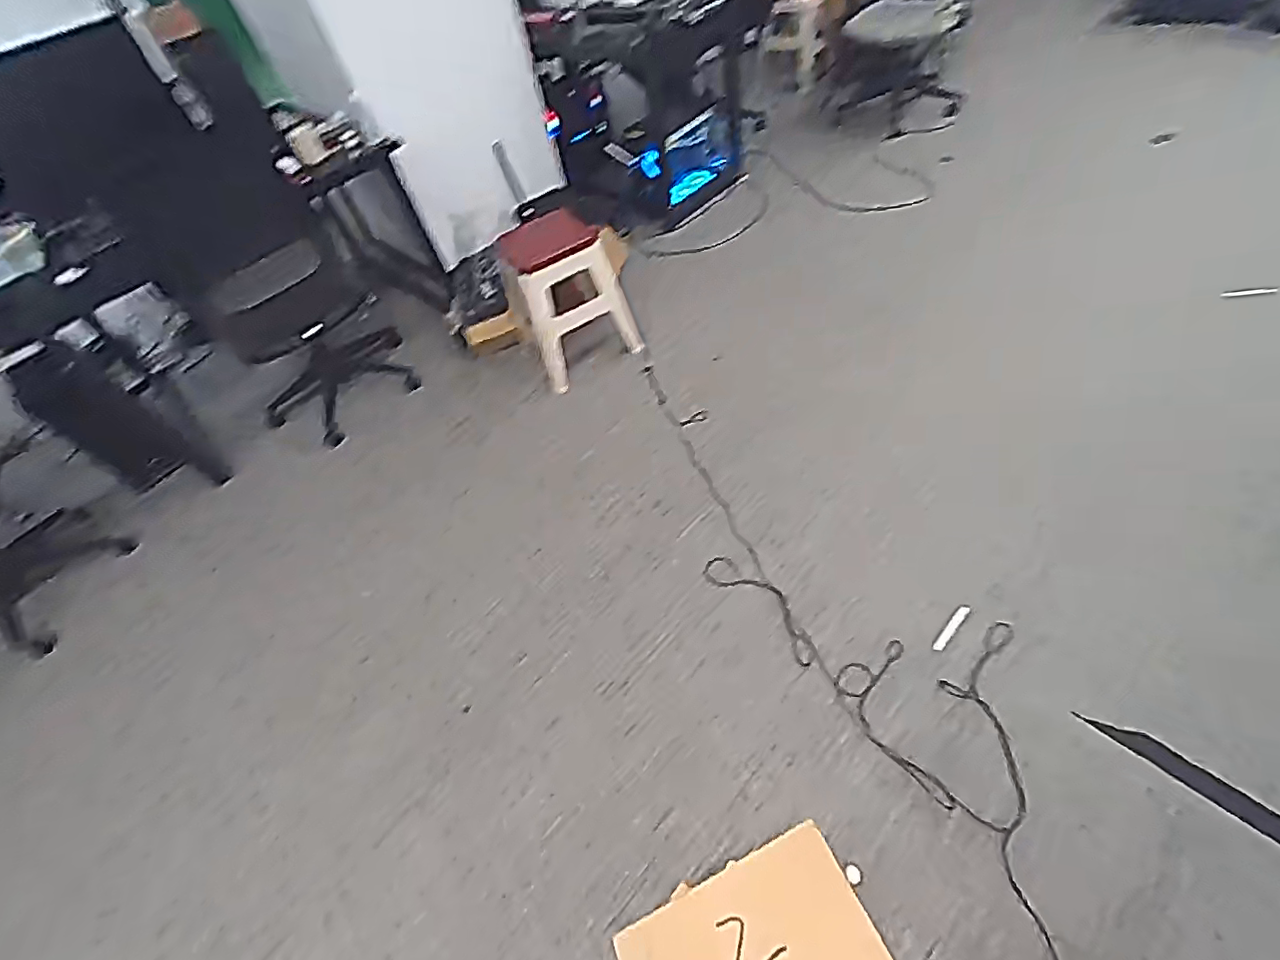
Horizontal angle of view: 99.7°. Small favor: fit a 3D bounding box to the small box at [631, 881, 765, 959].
[{"bbox_3d":[0.098,0.832,0.921,0.179,0.176,0.168,28,63,29],"label":"small box"}]
